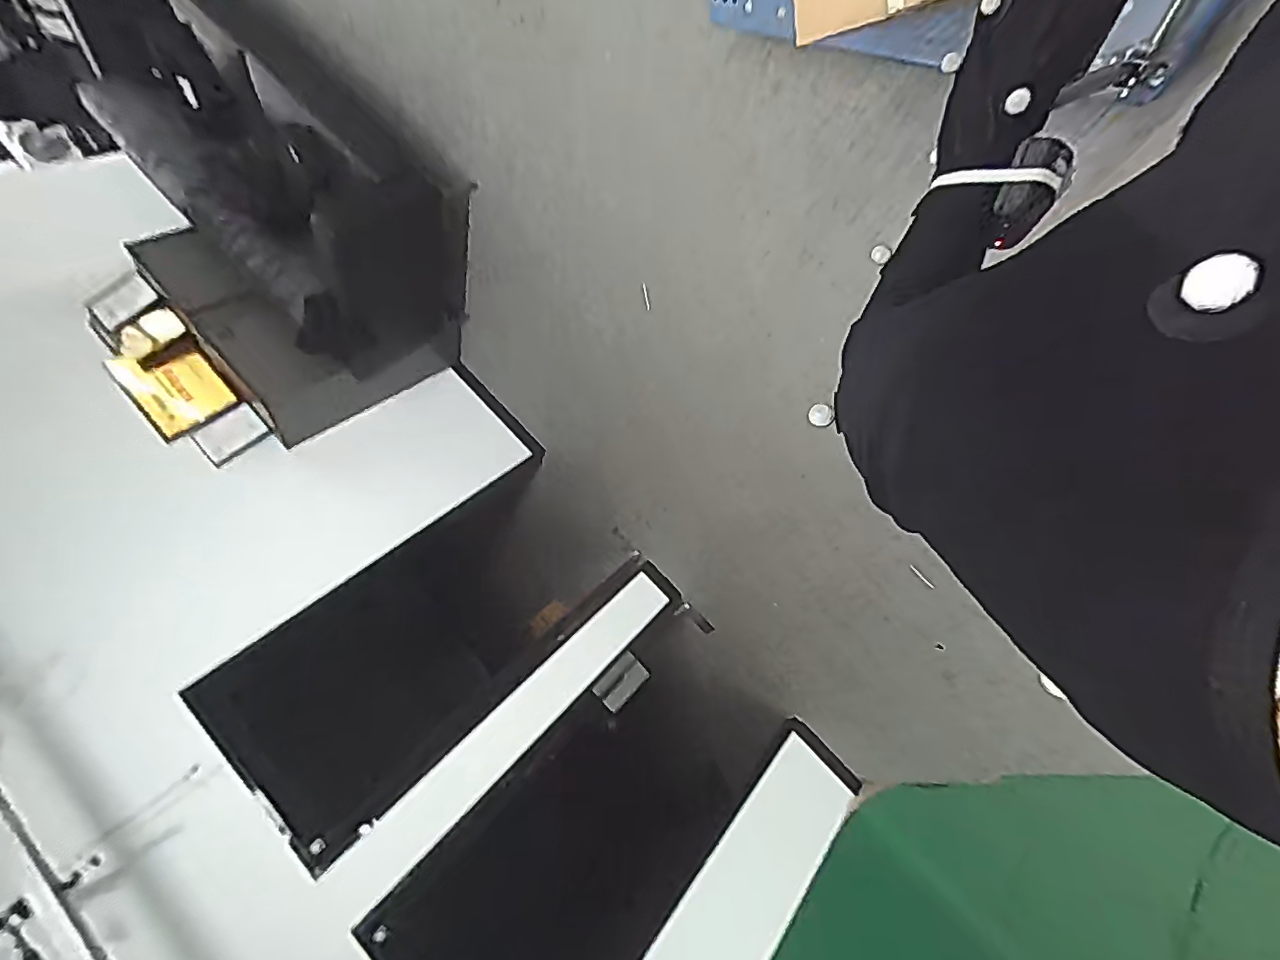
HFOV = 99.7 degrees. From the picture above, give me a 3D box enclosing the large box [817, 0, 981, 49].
[{"bbox_3d":[0.437,-0.893,0.729,0.320,0.320,0.408,17,136,43],"label":"large box"}]
